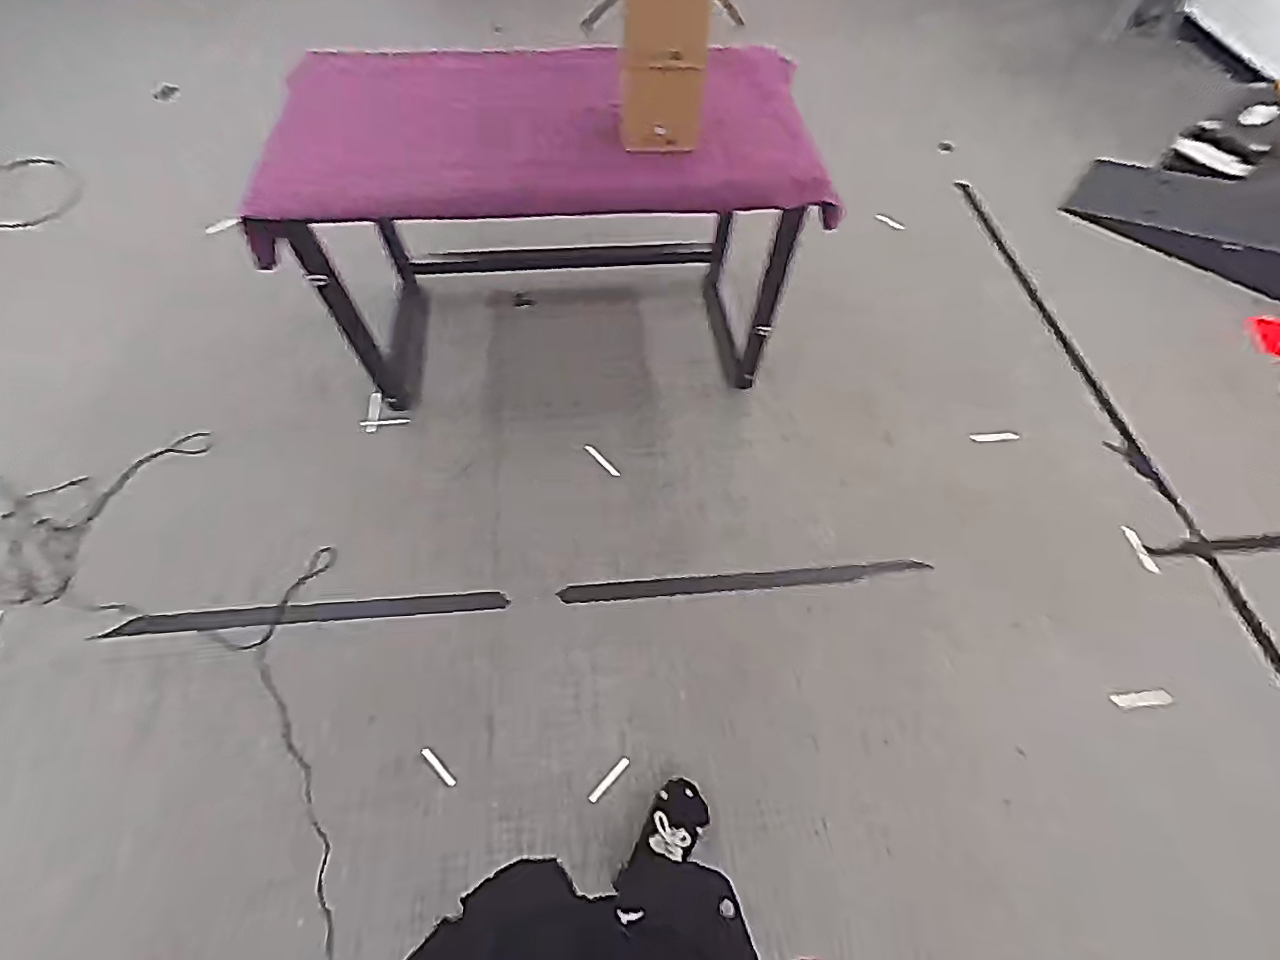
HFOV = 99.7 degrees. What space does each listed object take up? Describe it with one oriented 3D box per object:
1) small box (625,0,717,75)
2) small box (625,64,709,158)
[{"bbox_3d":[0.055,-0.916,1.040,0.168,0.176,0.179,0,60,-1],"label":"small box"},{"bbox_3d":[0.051,-0.839,1.185,0.168,0.176,0.179,-2,61,-2],"label":"small box"}]
